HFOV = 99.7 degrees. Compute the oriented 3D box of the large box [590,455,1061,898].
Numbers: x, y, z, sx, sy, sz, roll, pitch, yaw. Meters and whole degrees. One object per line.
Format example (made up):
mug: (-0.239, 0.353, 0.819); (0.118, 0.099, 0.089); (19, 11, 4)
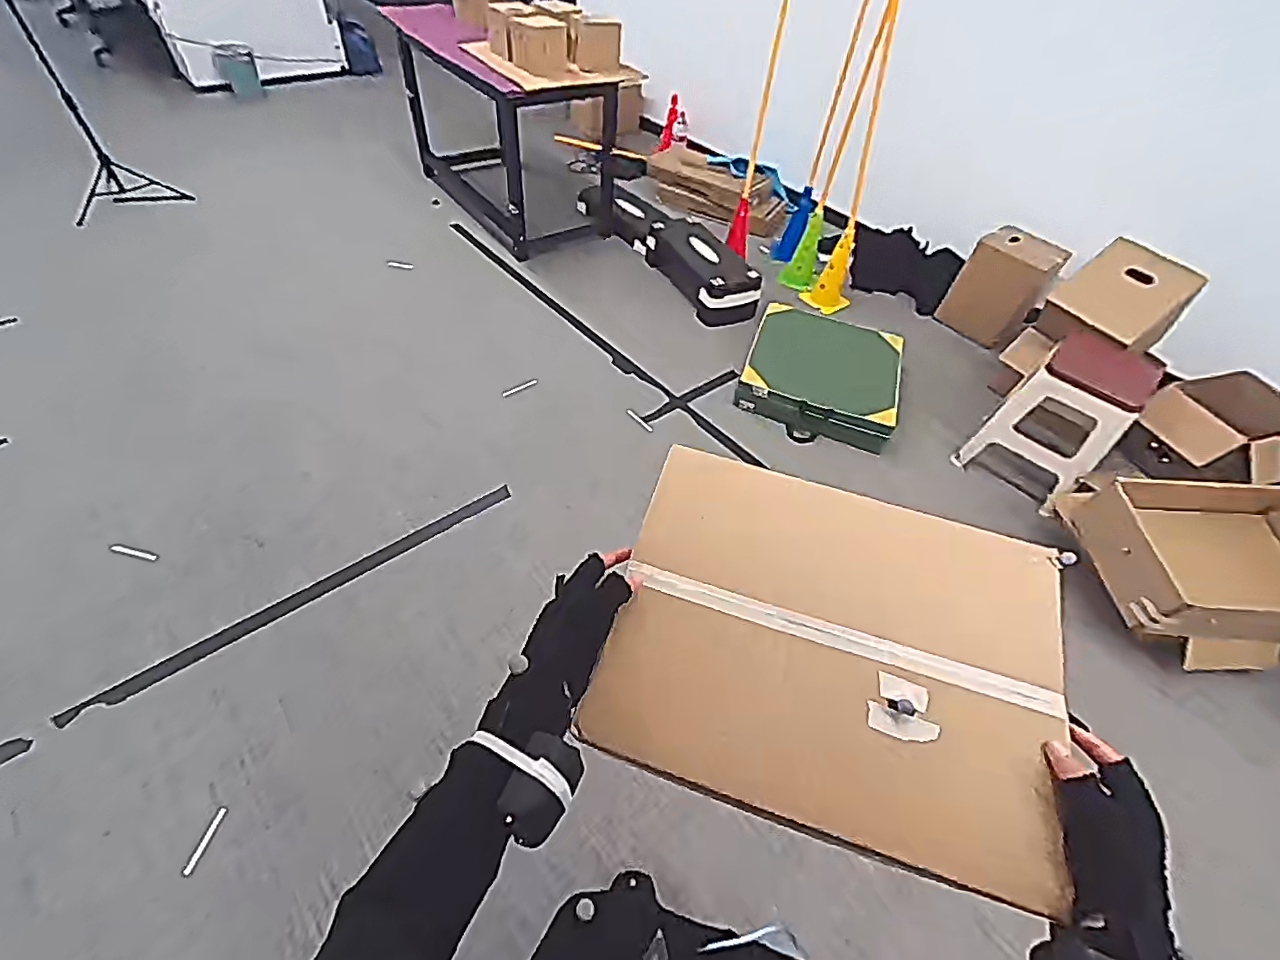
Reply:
large box: (0.185, 0.219, 0.648); (0.408, 0.320, 0.320); (17, 64, 9)
